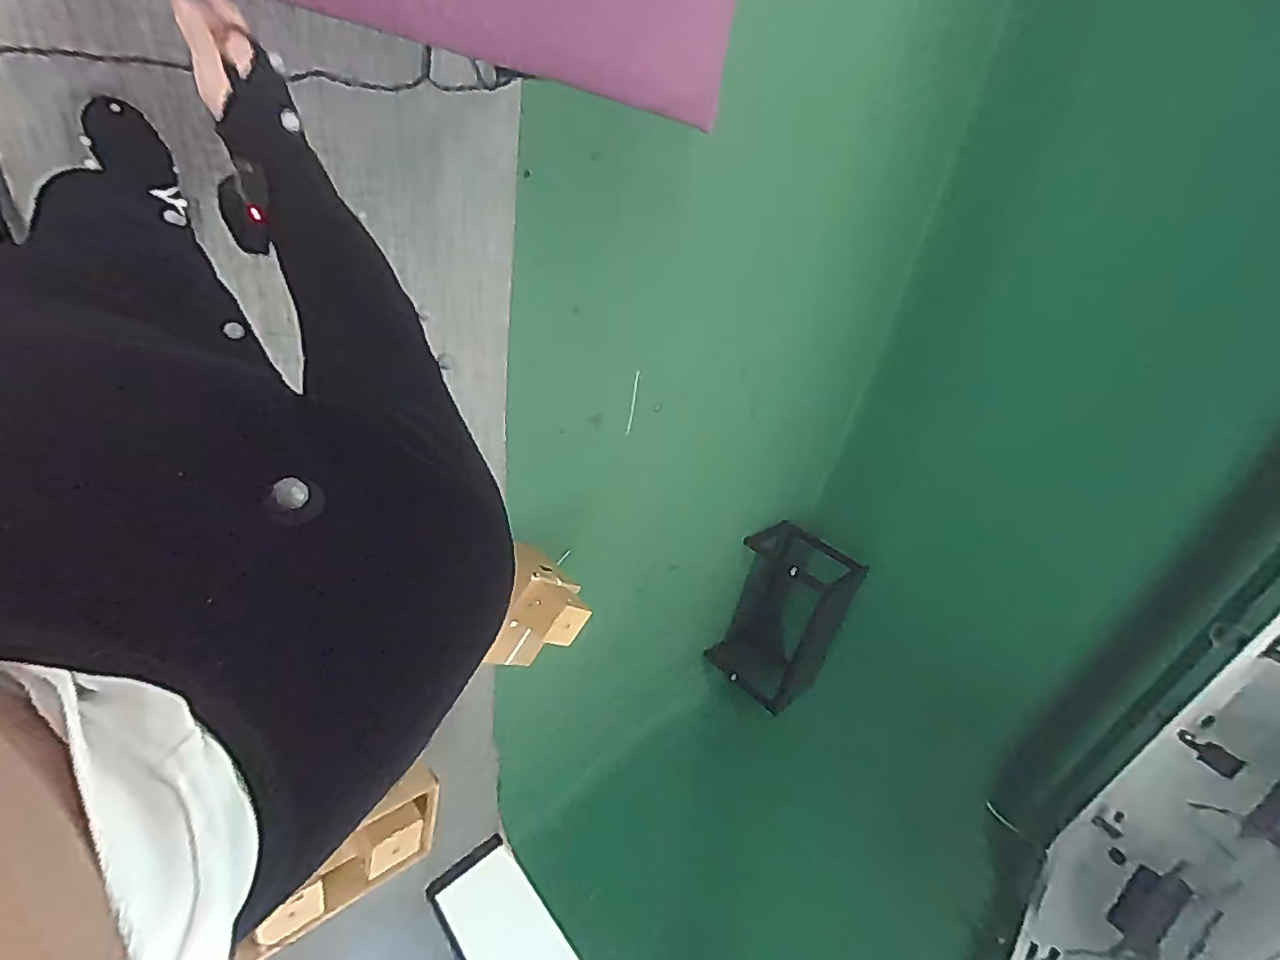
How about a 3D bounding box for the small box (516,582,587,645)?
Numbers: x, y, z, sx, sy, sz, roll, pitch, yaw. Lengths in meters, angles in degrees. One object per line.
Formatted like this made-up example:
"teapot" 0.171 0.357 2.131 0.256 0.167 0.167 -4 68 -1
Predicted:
"small box" -0.345 0.517 2.106 0.168 0.176 0.179 -55 143 0
